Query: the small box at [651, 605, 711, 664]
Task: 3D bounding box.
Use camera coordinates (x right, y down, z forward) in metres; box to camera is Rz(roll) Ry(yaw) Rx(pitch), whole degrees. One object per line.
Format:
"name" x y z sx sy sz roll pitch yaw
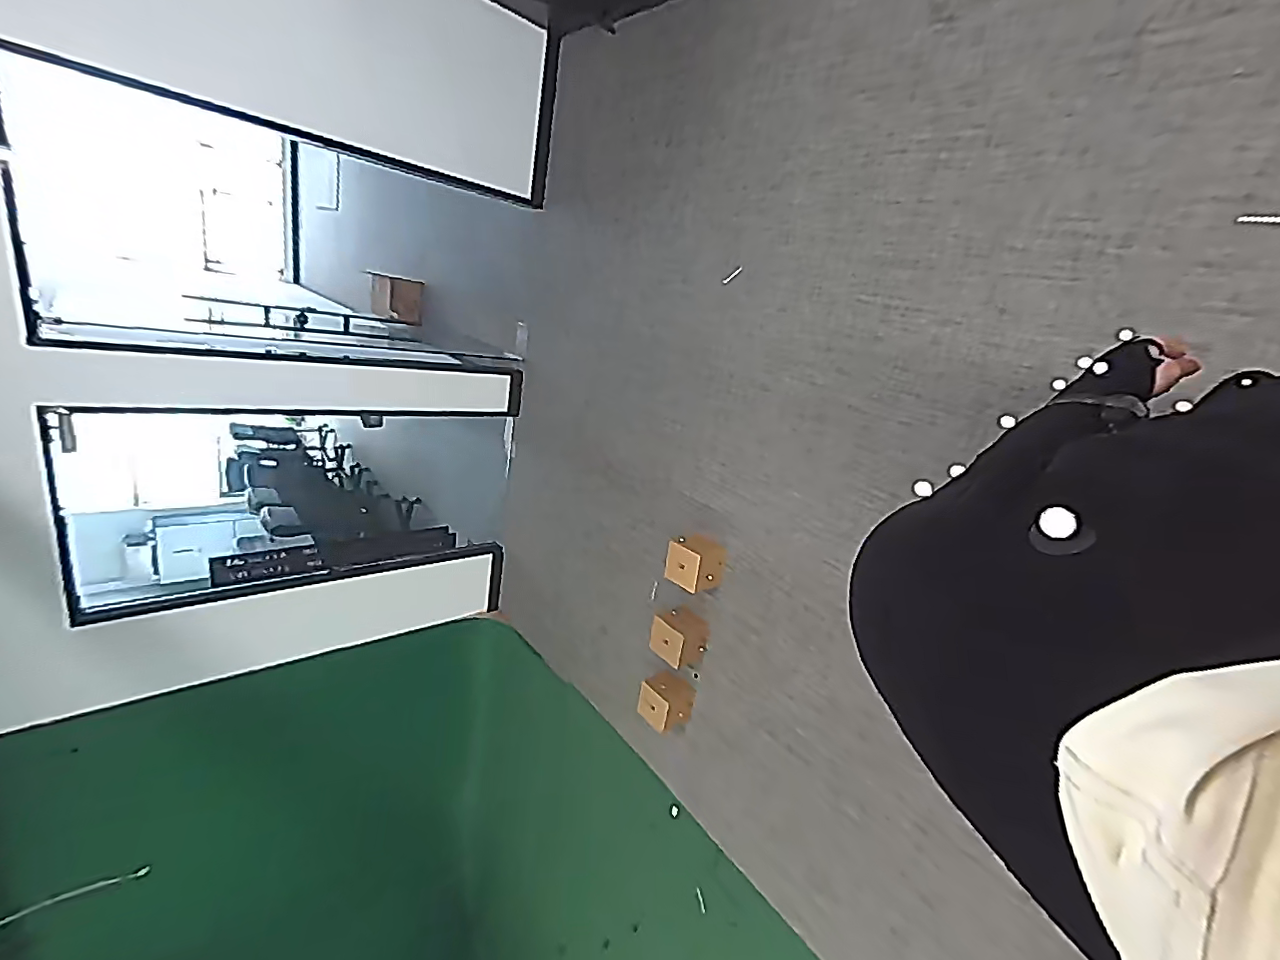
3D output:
"small box" 0.175 0.653 2.312 0.179 0.176 0.168 27 115 44

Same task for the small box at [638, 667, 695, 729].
"small box" 0.121 0.963 2.406 0.179 0.176 0.168 28 114 44

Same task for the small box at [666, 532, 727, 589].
"small box" 0.233 0.323 2.210 0.179 0.176 0.168 24 112 46
